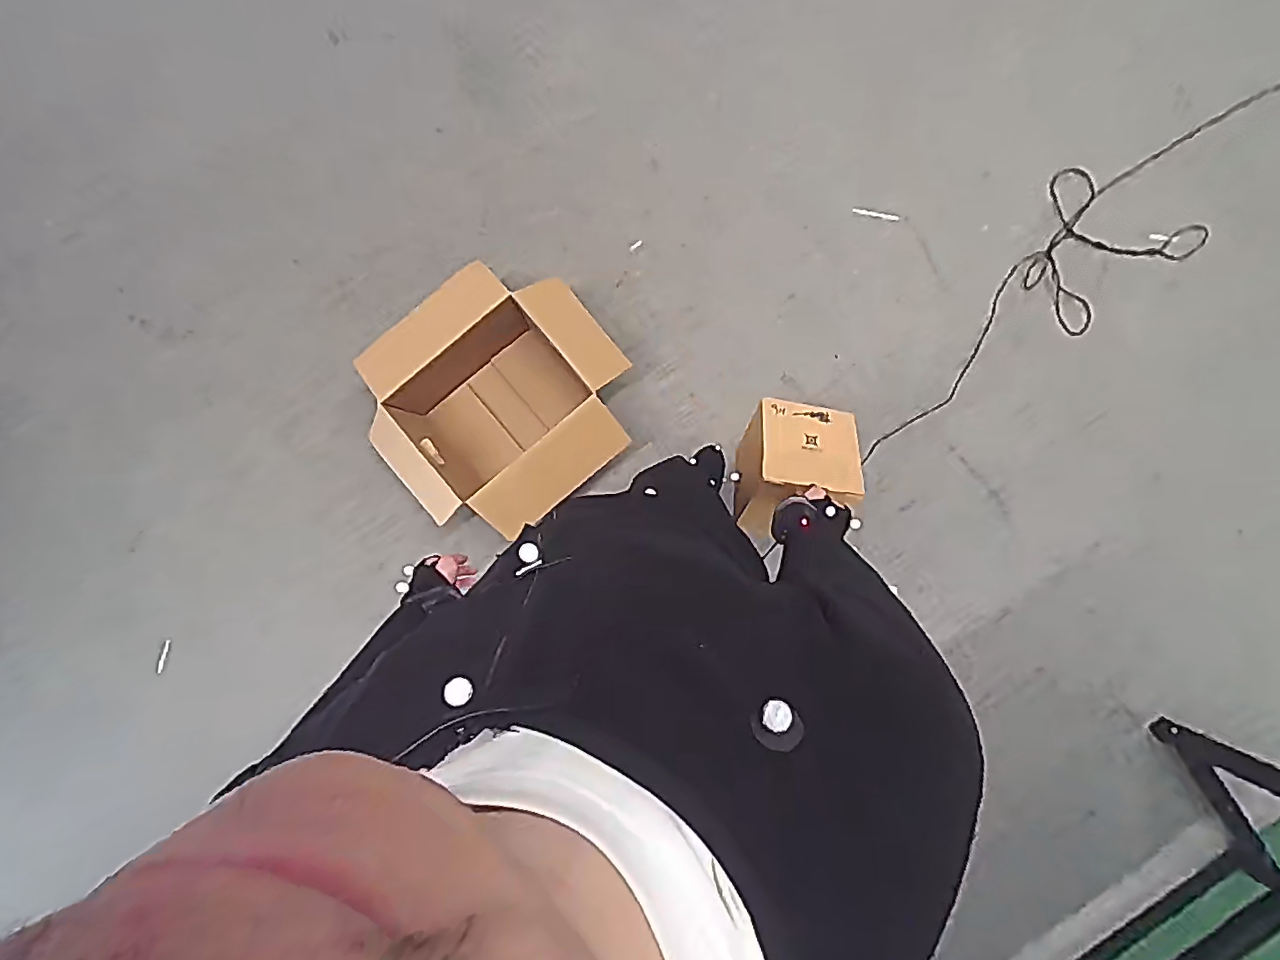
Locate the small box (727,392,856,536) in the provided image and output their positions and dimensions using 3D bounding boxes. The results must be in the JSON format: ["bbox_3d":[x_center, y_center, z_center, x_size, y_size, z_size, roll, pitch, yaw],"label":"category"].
[{"bbox_3d":[0.258,-0.021,0.948,0.168,0.176,0.179,12,57,-4],"label":"small box"}]
